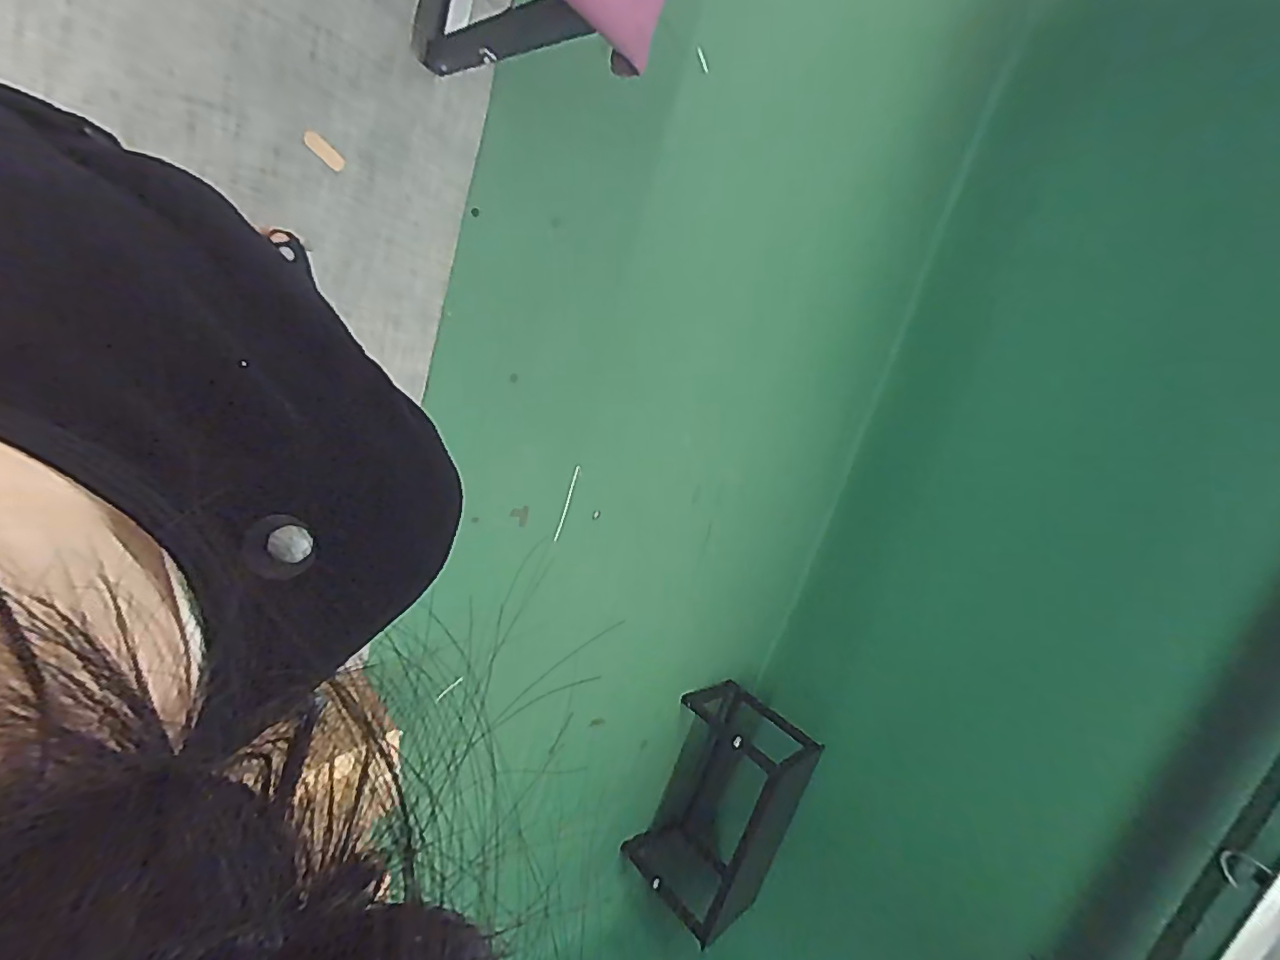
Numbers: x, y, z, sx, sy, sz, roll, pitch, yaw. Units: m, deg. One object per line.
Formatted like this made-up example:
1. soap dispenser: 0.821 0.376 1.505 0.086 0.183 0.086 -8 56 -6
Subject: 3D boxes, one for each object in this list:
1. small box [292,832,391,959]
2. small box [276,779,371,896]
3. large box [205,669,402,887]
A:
1. small box: -0.712 0.984 1.285 0.168 0.176 0.179 -7 114 -45
2. small box: -0.815 0.922 1.396 0.179 0.176 0.168 -9 116 -43
3. large box: -0.963 0.831 1.571 0.408 0.320 0.320 -14 122 -43
